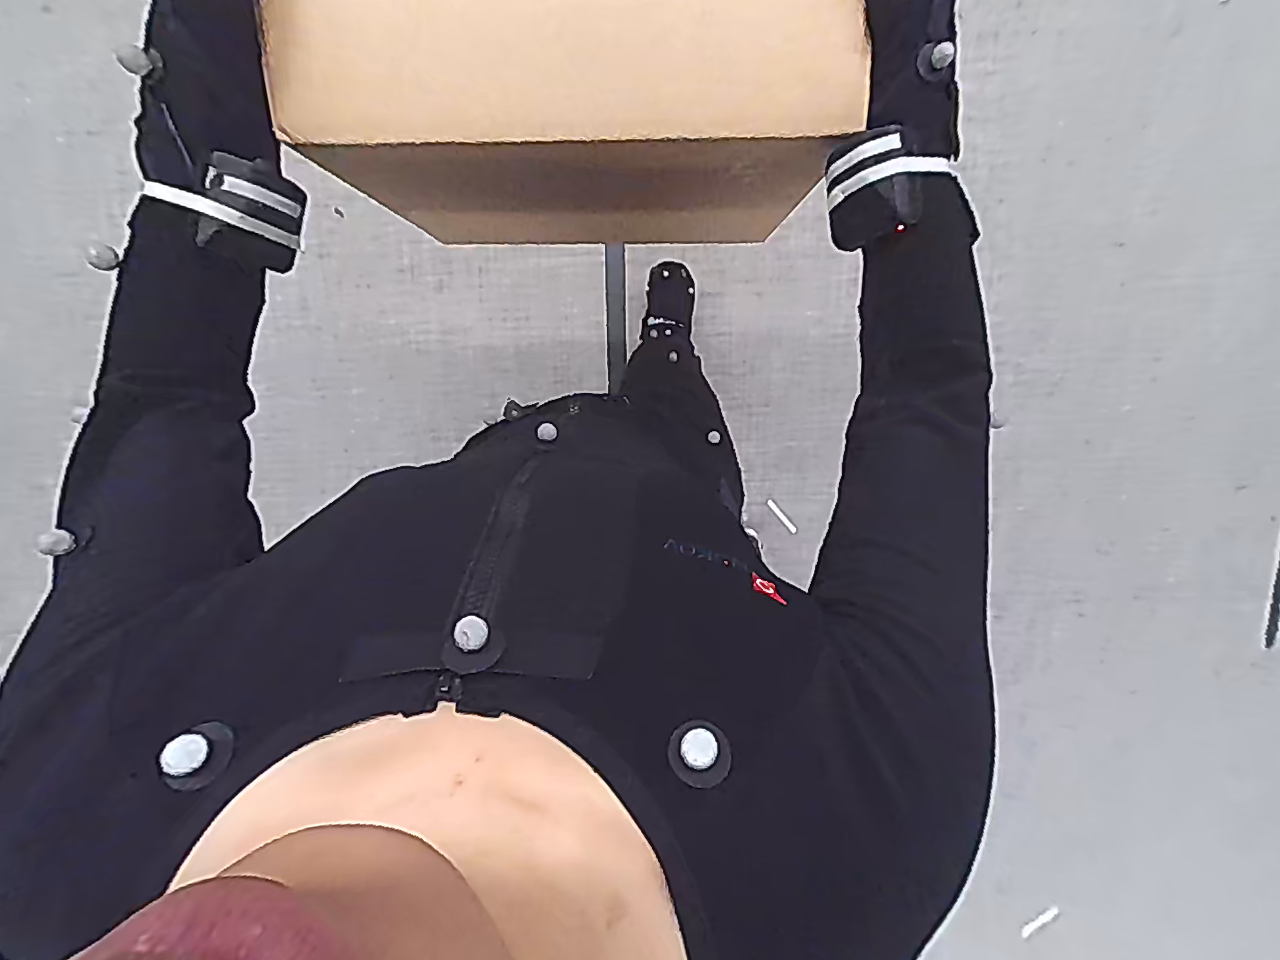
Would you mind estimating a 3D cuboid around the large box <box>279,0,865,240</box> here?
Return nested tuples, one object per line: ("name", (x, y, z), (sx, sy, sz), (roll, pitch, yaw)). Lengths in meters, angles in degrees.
("large box", (-0.048, -0.426, 0.497), (0.408, 0.320, 0.320), (-1, 101, 1))
